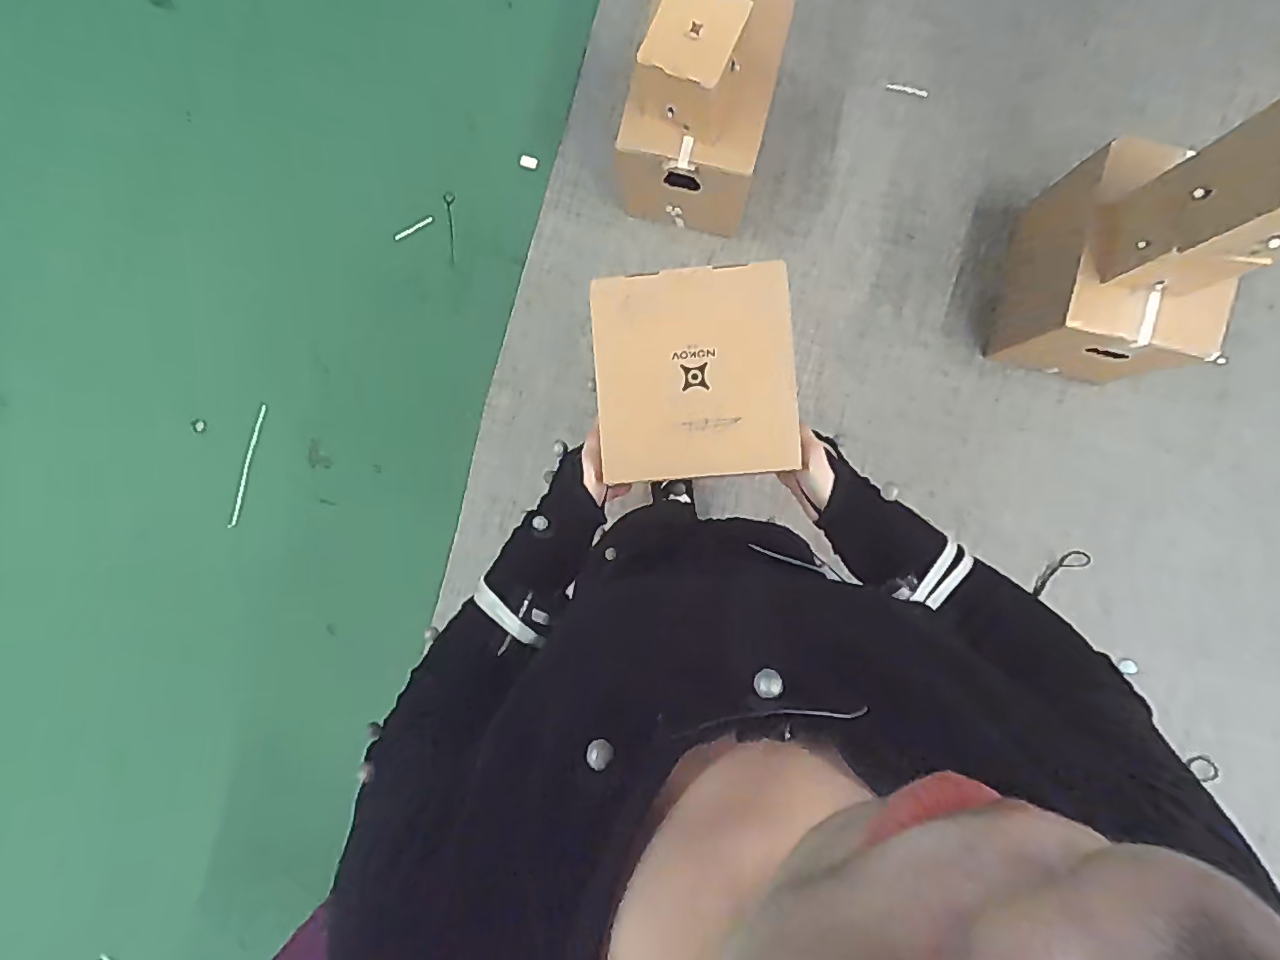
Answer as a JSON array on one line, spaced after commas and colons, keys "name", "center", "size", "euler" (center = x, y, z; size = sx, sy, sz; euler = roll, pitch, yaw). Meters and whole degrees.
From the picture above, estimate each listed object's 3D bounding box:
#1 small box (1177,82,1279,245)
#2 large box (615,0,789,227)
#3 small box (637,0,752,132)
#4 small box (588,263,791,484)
[{"name": "small box", "center": [1.023, -0.497, 0.864], "size": [0.168, 0.176, 0.179], "euler": [6, 91, 6]}, {"name": "large box", "center": [0.149, -0.910, 1.337], "size": [0.320, 0.320, 0.408], "euler": [15, 90, 5]}, {"name": "small box", "center": [0.108, -0.863, 1.095], "size": [0.168, 0.176, 0.179], "euler": [26, 93, 6]}, {"name": "small box", "center": [0.044, -0.090, 0.537], "size": [0.168, 0.176, 0.179], "euler": [-4, 89, 3]}]
